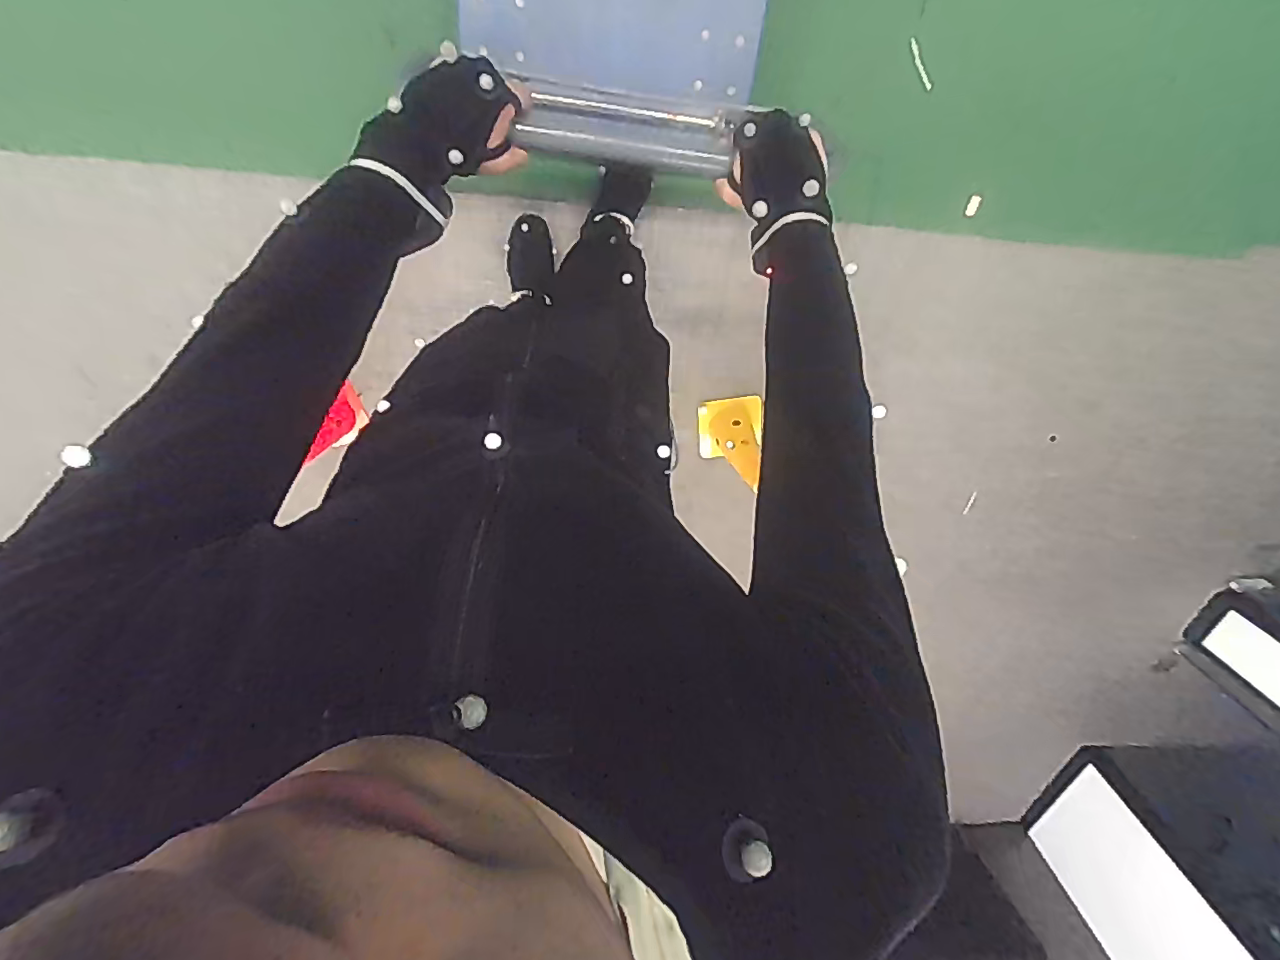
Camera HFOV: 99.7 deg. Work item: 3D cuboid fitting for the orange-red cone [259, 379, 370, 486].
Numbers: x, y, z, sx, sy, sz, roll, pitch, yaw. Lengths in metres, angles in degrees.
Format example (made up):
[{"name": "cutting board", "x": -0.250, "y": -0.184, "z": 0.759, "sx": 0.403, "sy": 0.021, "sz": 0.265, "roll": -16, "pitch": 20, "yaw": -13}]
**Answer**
[{"name": "orange-red cone", "x": -0.879, "y": -0.093, "z": 1.395, "sx": 0.199, "sy": 0.360, "sz": 0.198, "roll": -10, "pitch": 123, "yaw": 1}]
